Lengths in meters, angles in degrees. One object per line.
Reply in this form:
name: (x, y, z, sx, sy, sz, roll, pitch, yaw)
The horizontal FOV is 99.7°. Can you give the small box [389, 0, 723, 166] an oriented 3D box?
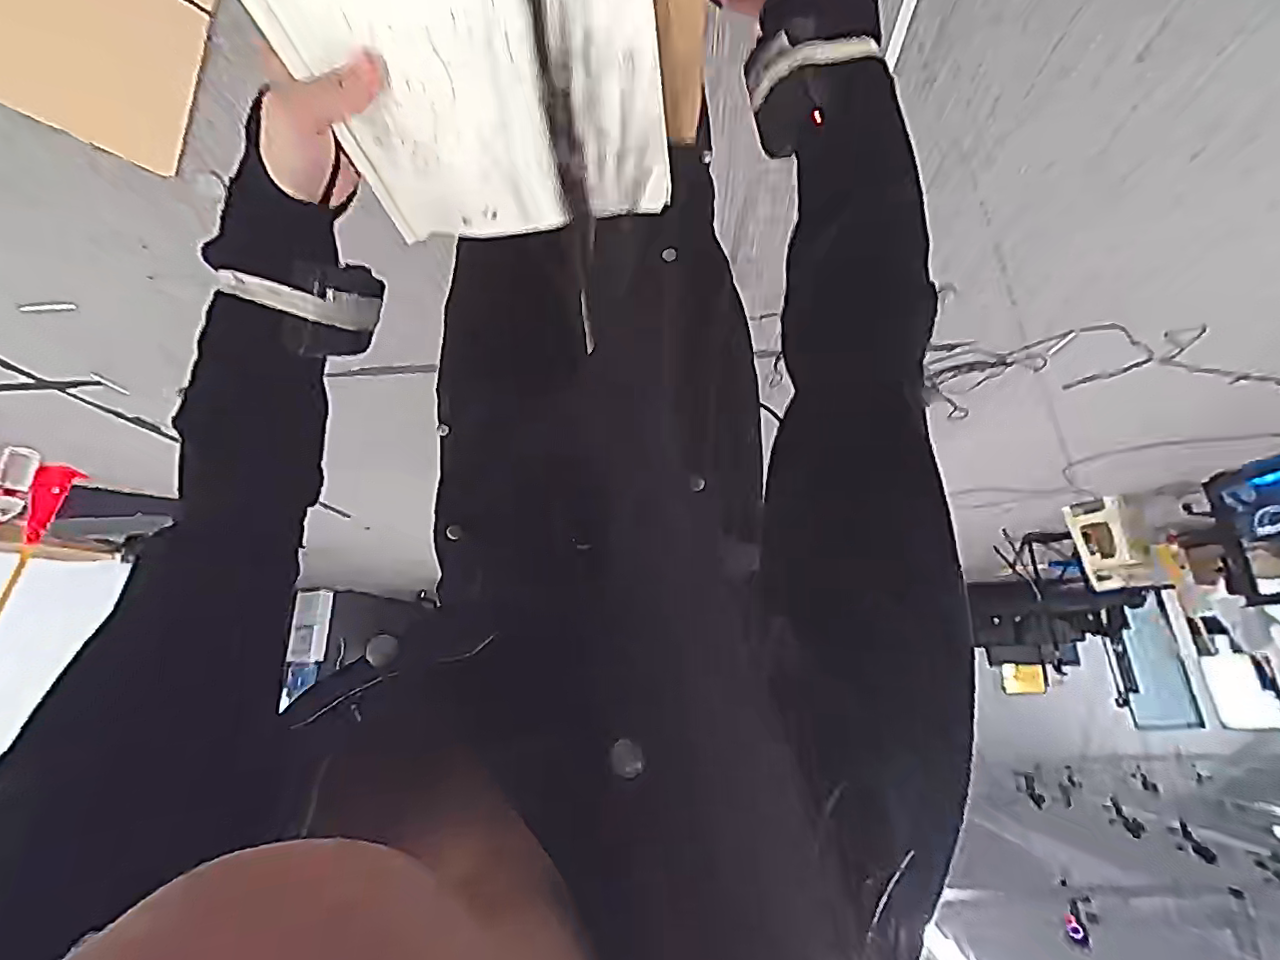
small box: (-0.034, -0.306, 0.283, 0.168, 0.176, 0.179, 4, 159, 2)
